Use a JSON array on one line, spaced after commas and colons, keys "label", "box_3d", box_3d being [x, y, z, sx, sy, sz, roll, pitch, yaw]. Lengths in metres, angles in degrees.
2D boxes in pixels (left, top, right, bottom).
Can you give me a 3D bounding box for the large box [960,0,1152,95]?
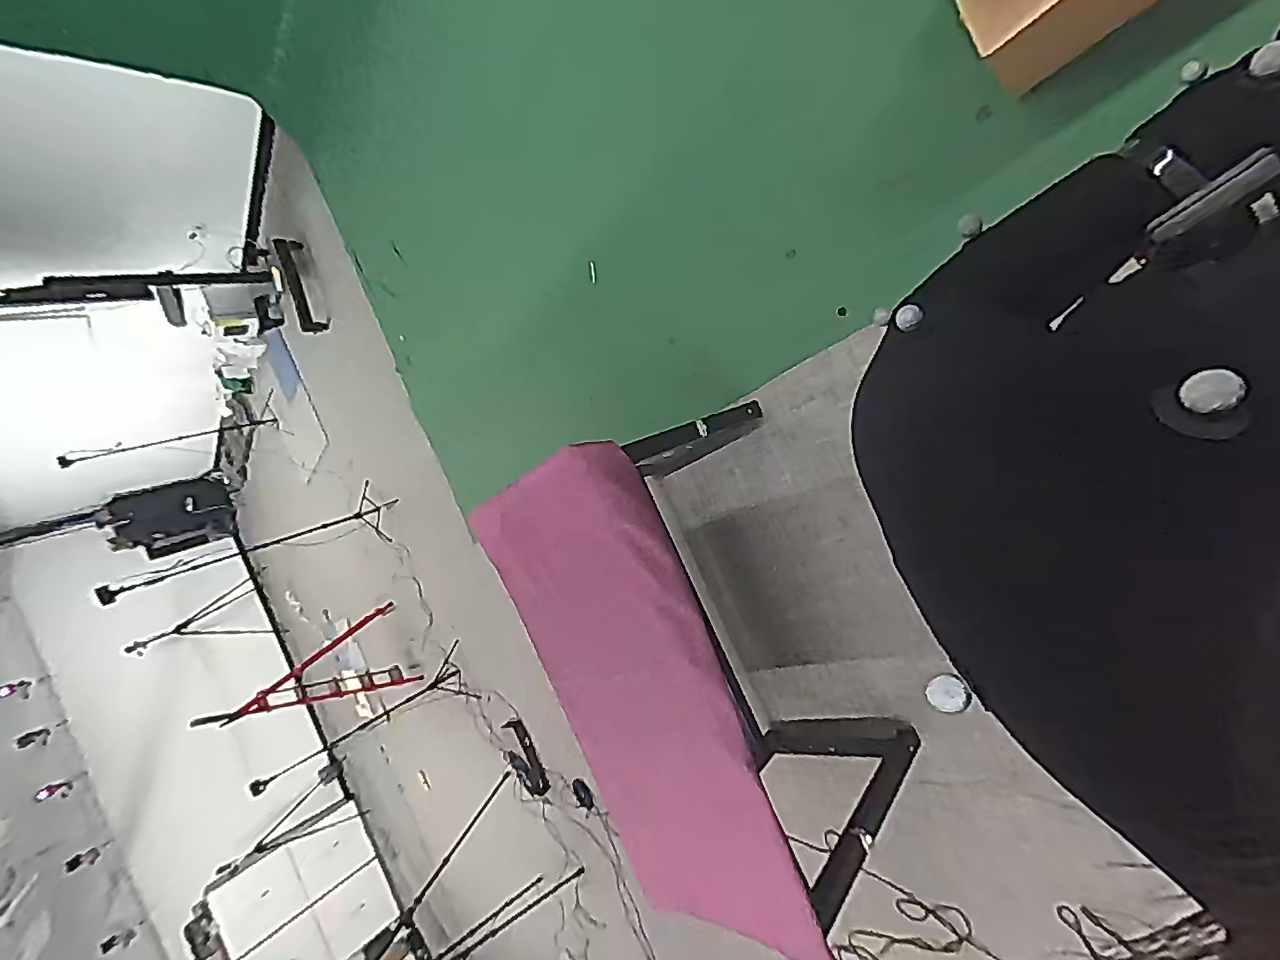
[{"label": "large box", "box_3d": [0.737, -0.941, 0.865, 0.408, 0.320, 0.320, -25, 88, 45]}]
